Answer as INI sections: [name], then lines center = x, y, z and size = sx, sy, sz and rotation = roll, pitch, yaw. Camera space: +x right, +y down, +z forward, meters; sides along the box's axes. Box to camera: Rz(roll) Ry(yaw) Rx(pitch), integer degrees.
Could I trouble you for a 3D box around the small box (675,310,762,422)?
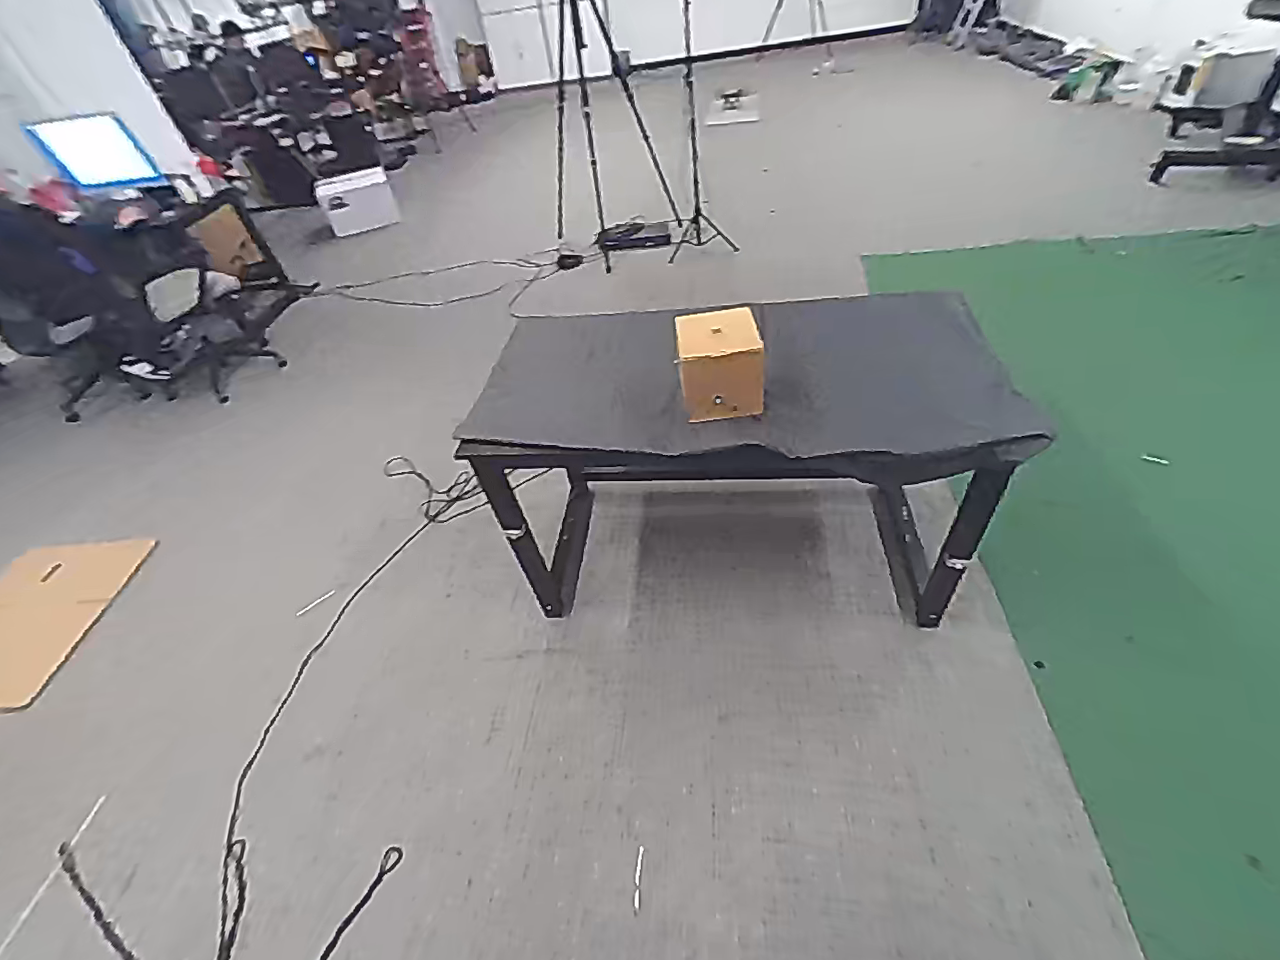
[small box]
center = 0.168, -0.250, 1.193
size = 0.168, 0.176, 0.179
rotation = -7, 45, 4
